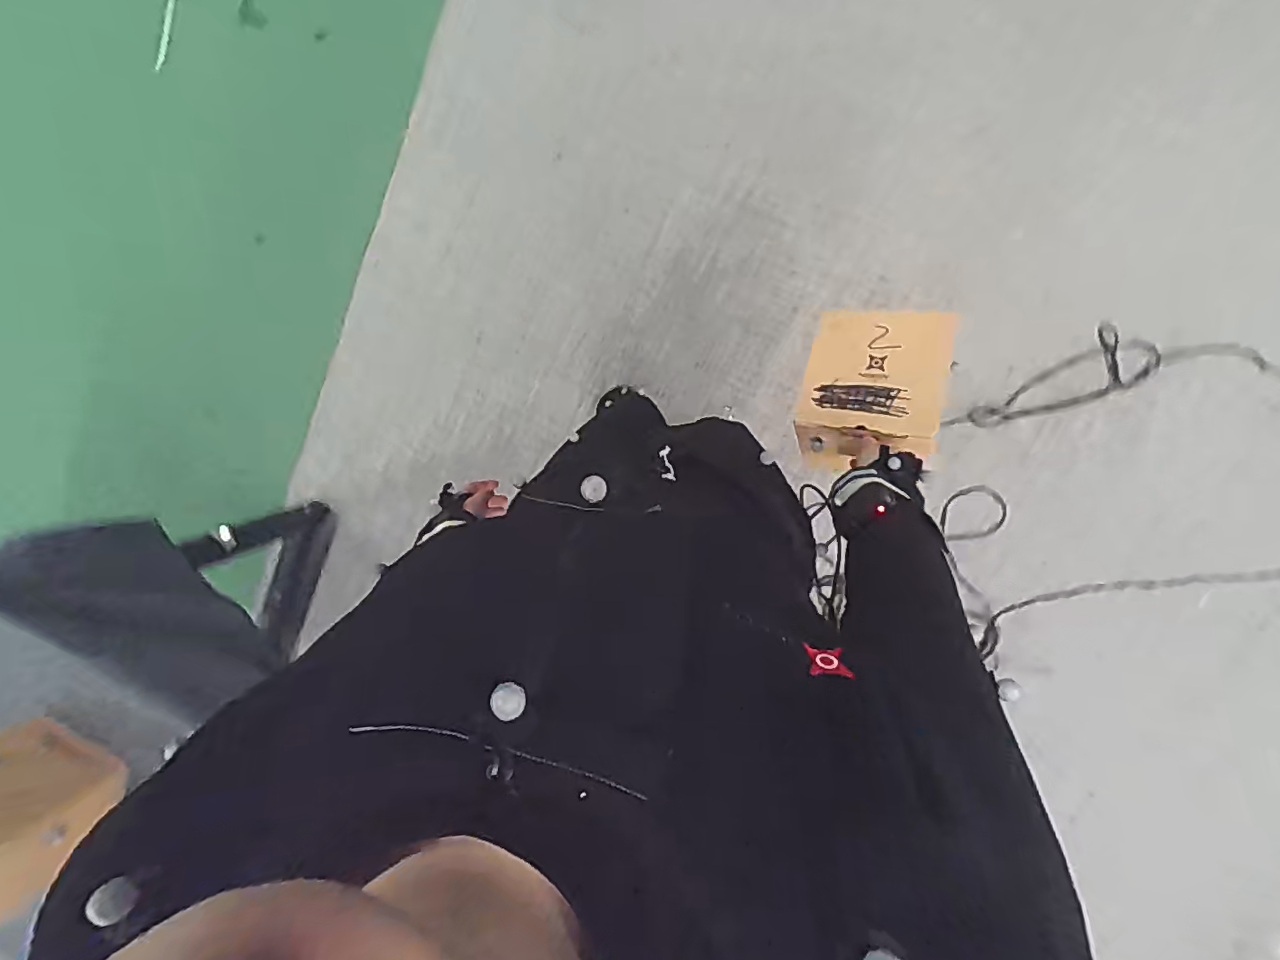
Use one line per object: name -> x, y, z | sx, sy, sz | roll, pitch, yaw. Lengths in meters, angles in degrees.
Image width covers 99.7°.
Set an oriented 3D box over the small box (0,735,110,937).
small box -> -0.870, 0.484, 0.717 | 0.168, 0.176, 0.179 | 28, 104, 3
